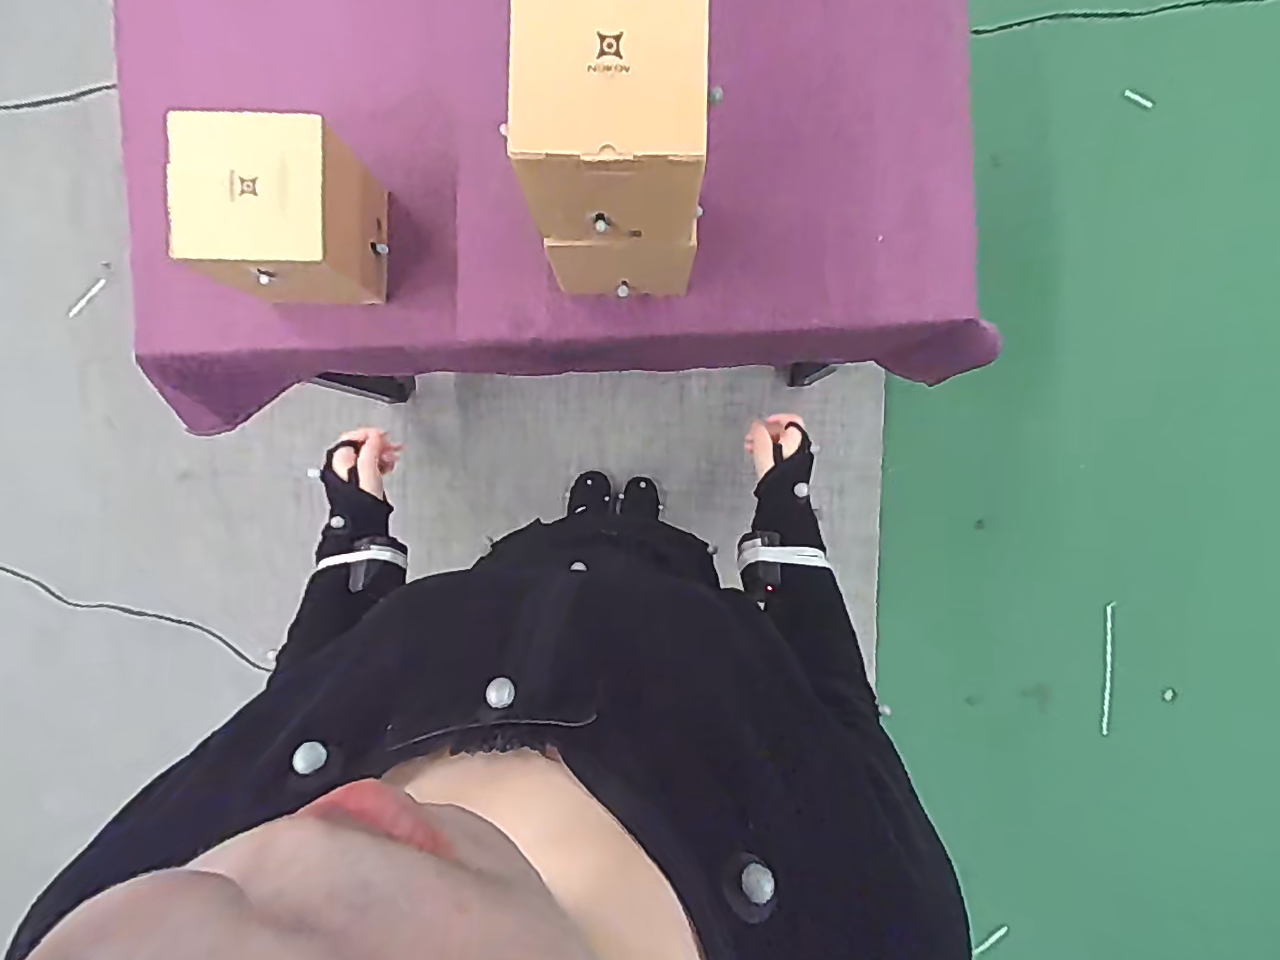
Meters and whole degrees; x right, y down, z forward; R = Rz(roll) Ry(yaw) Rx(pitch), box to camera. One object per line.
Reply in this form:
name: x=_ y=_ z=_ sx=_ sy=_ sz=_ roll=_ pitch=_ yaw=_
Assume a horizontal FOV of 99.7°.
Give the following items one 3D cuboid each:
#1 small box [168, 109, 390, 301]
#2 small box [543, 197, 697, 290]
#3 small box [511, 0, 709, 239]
small box: x=-0.446 y=-0.335 z=0.690 sx=0.179 sy=0.176 sz=0.168 roll=1 pitch=92 yaw=-1
small box: x=-0.025 y=-0.353 z=0.693 sx=0.179 sy=0.176 sz=0.168 roll=0 pitch=91 yaw=-1
small box: x=-0.026 y=-0.359 z=0.529 sx=0.168 sy=0.176 sz=0.179 roll=1 pitch=92 yaw=0
